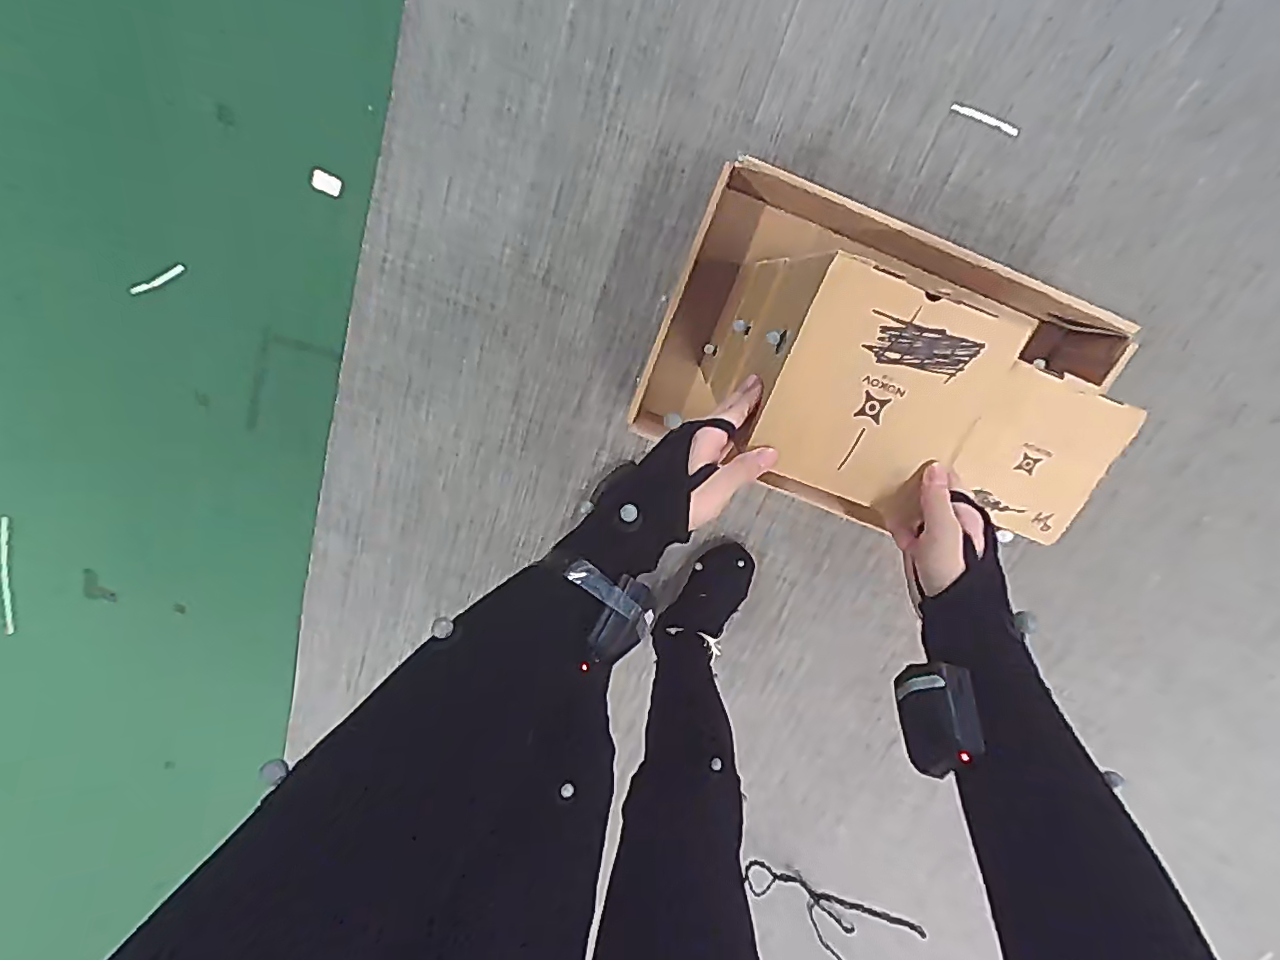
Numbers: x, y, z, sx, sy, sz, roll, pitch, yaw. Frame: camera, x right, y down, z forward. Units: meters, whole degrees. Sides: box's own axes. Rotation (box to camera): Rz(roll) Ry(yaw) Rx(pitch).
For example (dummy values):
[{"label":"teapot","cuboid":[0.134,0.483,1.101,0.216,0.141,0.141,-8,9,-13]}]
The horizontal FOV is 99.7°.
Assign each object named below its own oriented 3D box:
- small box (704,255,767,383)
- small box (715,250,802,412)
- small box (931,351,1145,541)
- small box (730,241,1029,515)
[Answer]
[{"label":"small box","cuboid":[0.202,-0.215,0.807,0.168,0.176,0.179,21,110,-5]},{"label":"small box","cuboid":[0.197,-0.158,0.657,0.168,0.176,0.179,20,109,-4]},{"label":"small box","cuboid":[0.443,-0.058,0.677,0.168,0.176,0.179,22,109,-3]},{"label":"small box","cuboid":[0.193,-0.100,0.503,0.168,0.176,0.179,20,110,-4]}]
